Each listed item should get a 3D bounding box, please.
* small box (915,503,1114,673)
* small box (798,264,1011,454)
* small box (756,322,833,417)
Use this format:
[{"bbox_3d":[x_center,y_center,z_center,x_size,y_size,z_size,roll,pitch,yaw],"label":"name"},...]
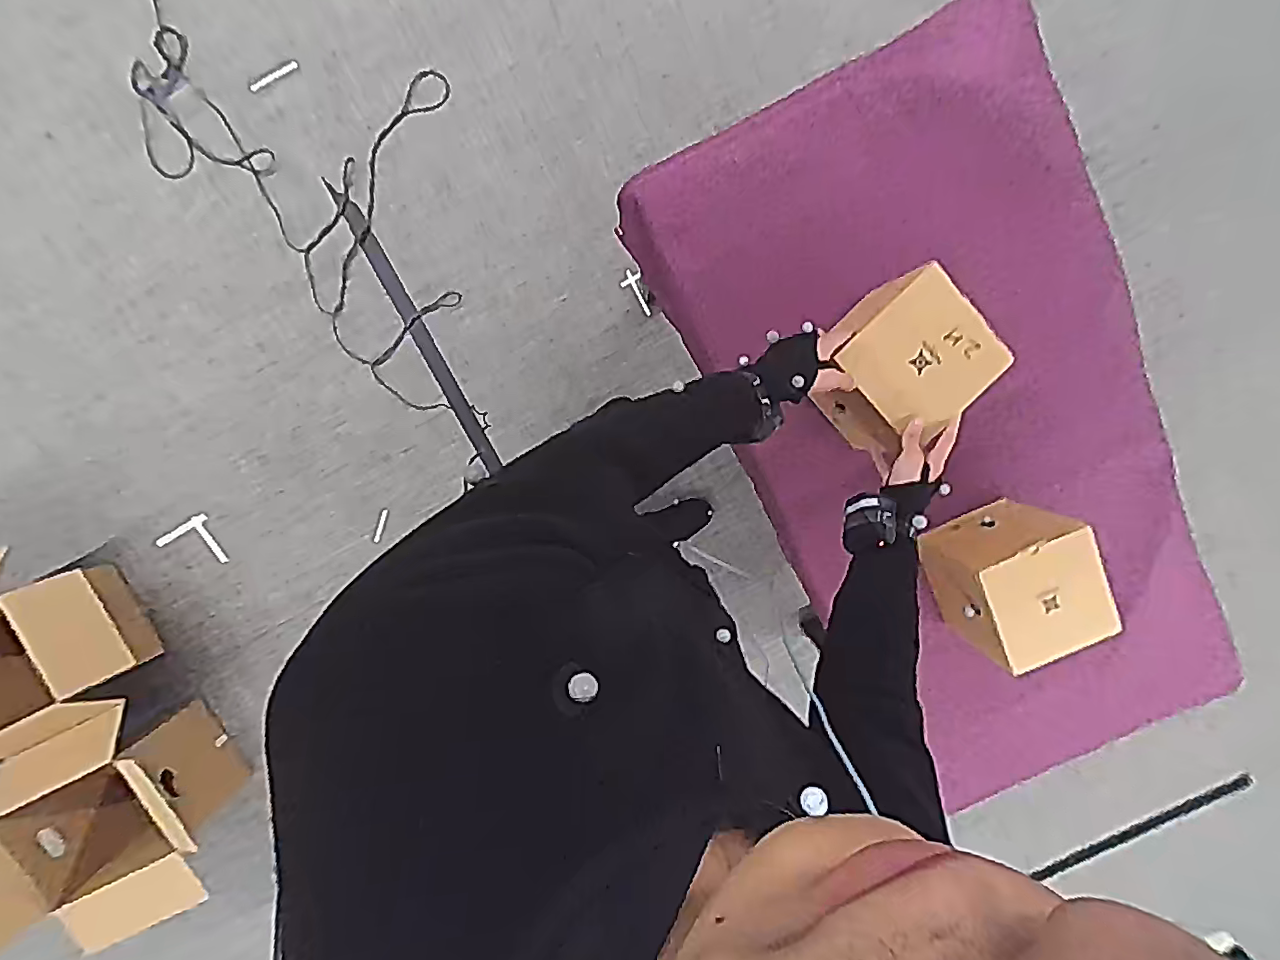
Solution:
[{"bbox_3d":[0.565,0.156,0.837,0.168,0.176,0.179,-24,99,3],"label":"small box"},{"bbox_3d":[0.343,-0.154,0.746,0.179,0.176,0.168,-44,97,1],"label":"small box"},{"bbox_3d":[0.418,-0.279,1.378,0.168,0.176,0.179,-30,102,3],"label":"small box"}]
